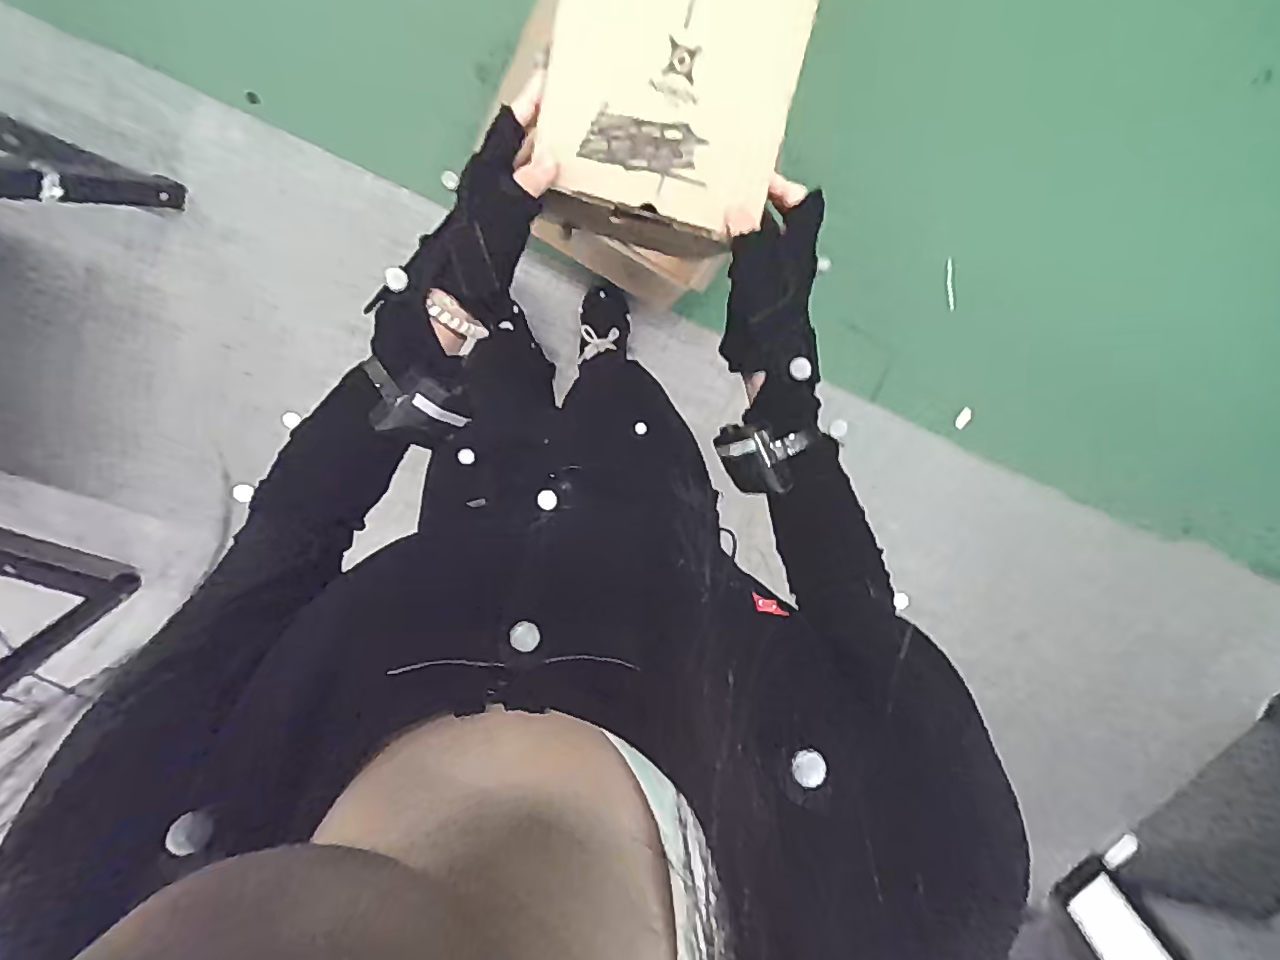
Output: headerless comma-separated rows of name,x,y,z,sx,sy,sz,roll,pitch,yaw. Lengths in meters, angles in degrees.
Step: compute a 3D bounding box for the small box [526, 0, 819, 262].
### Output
small box,0.010,-0.288,0.432,0.168,0.176,0.179,11,104,-13
